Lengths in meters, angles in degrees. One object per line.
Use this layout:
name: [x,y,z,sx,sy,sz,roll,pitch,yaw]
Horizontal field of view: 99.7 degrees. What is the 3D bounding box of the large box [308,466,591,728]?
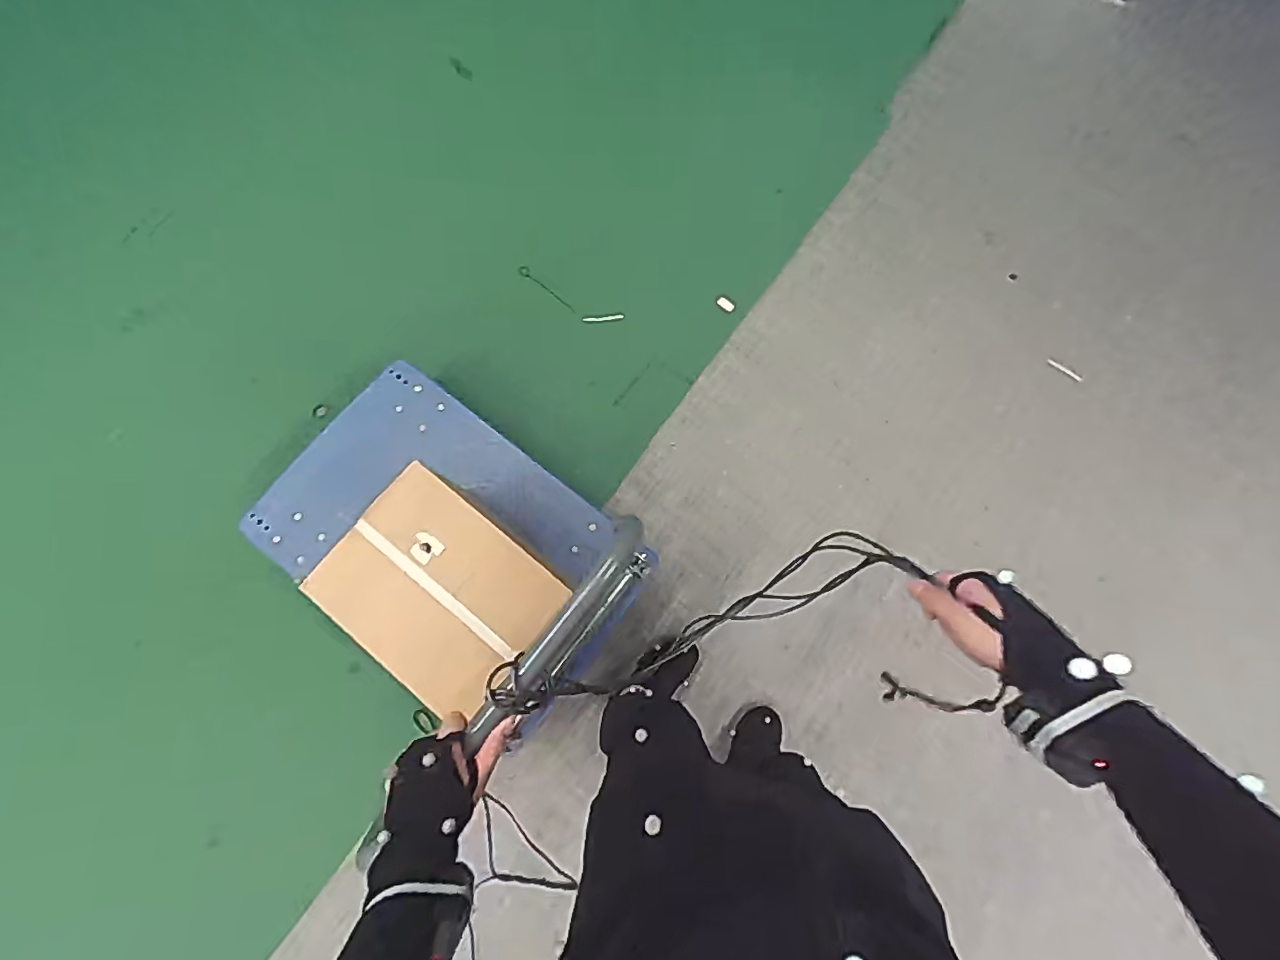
large box: [-0.362,0.235,1.137,0.408,0.320,0.320,38,80,8]
